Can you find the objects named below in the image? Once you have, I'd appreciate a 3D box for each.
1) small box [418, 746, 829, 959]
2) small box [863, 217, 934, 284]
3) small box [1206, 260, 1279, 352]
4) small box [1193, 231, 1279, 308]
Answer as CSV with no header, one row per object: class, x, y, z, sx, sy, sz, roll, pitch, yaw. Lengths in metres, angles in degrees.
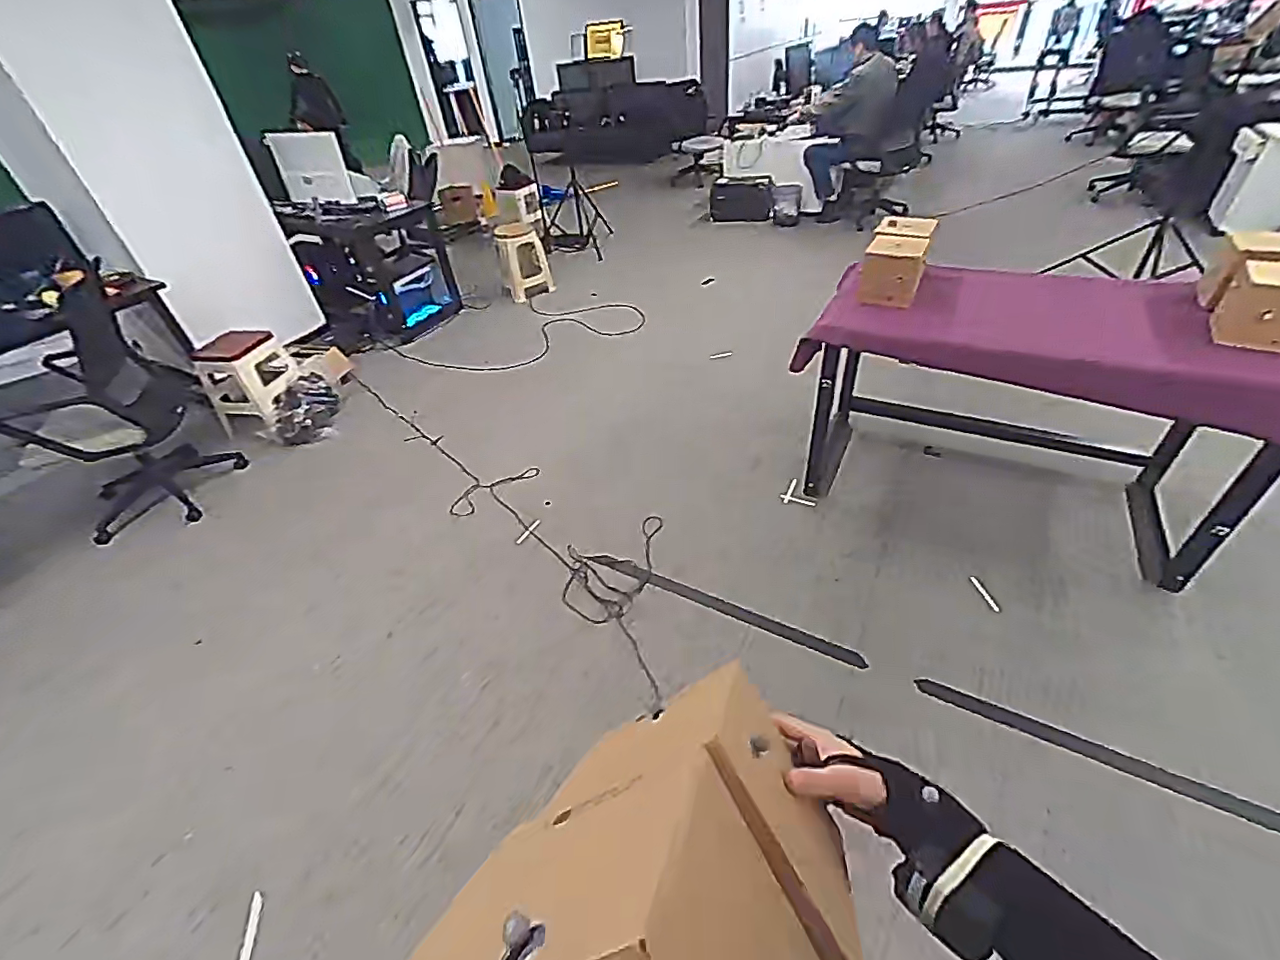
small box,0.002,0.281,0.281,0.168,0.176,0.179,-31,82,11
small box,0.904,-0.806,1.901,0.179,0.176,0.168,19,49,25
small box,1.609,-0.445,1.387,0.168,0.176,0.179,20,46,29
small box,1.716,-0.585,1.524,0.179,0.176,0.168,18,47,25
